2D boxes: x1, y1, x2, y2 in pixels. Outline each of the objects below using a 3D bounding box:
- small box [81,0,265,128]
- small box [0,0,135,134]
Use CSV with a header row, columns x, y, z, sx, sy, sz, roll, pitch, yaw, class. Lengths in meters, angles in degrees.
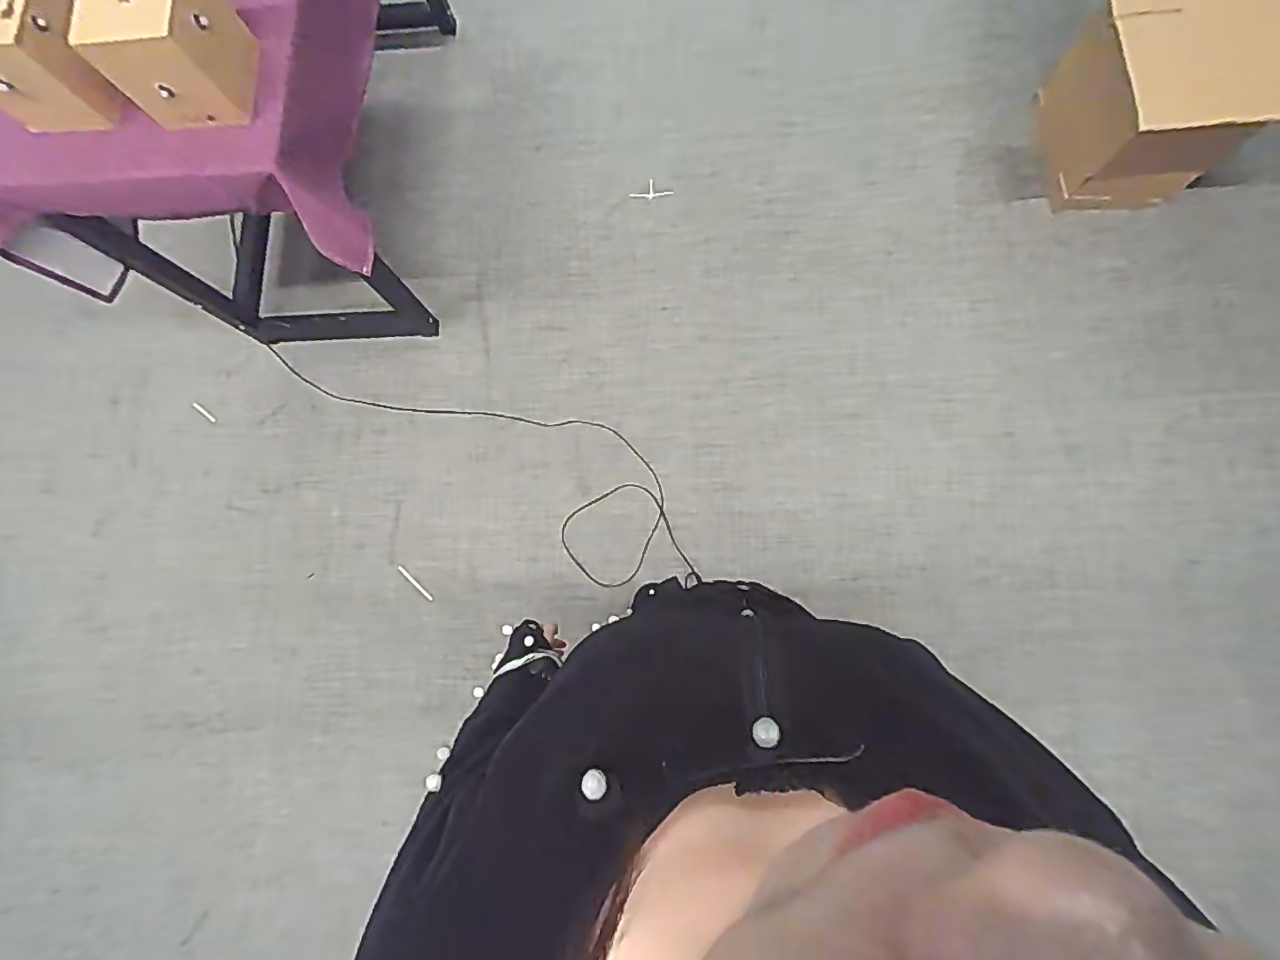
x,y,z,sx,sy,sz,roll,pitch,yaw,class
-0.790,-0.742,0.933,0.168,0.176,0.179,-1,79,4,small box
-1.048,-0.743,0.952,0.179,0.176,0.168,0,79,4,small box
